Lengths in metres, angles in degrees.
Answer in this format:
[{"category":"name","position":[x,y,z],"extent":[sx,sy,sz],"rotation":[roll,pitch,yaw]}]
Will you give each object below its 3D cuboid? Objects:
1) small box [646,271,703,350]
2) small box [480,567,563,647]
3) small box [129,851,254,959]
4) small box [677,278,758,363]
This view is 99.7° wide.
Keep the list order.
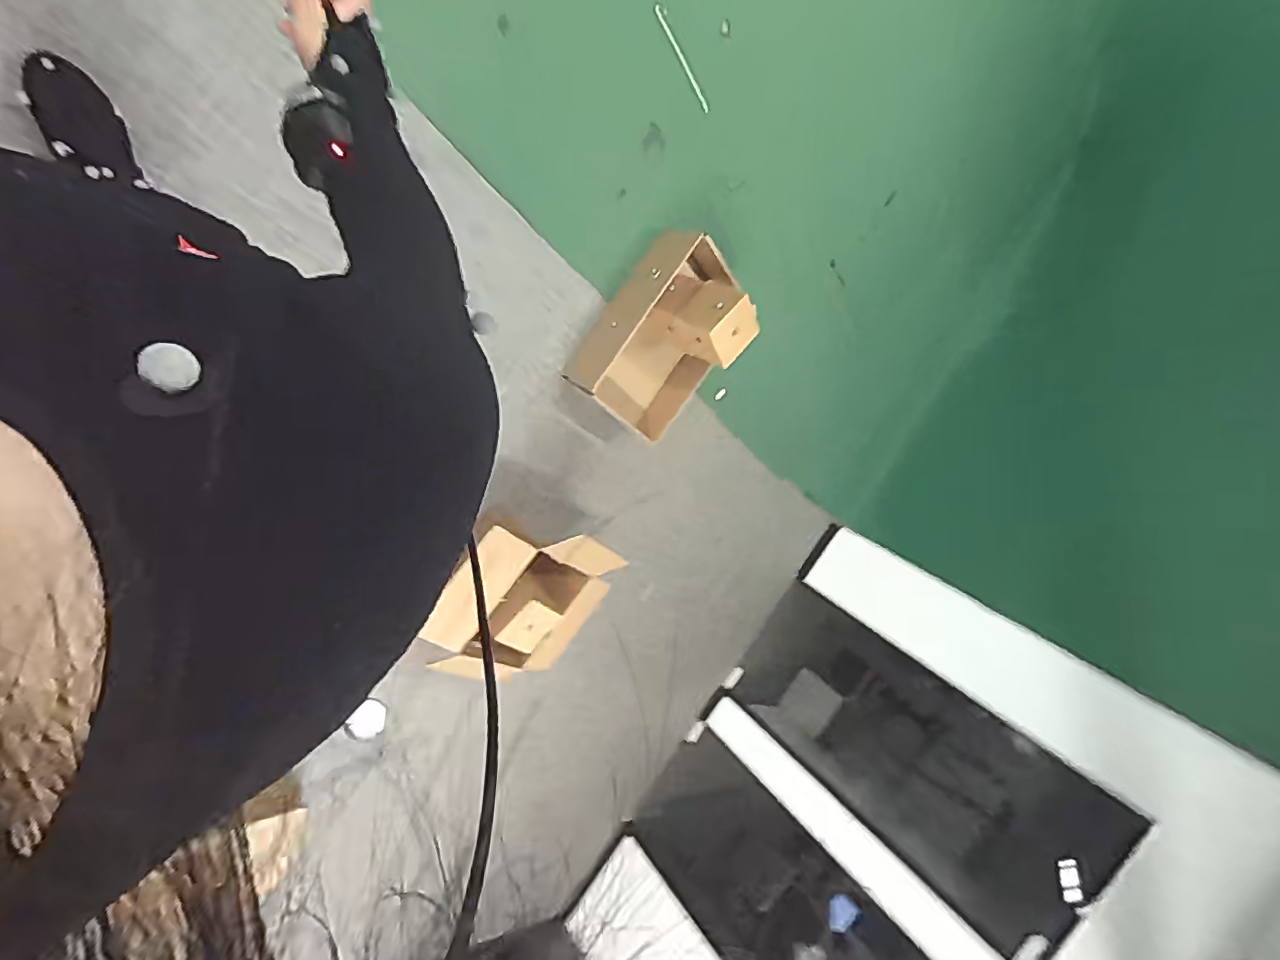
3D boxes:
[{"category":"small box","position":[0.150,-0.578,1.831],"extent":[0.168,0.176,0.179],"rotation":[-45,140,-10]},{"category":"small box","position":[-0.393,0.413,1.778],"extent":[0.168,0.176,0.179],"rotation":[-47,139,-4]},{"category":"small box","position":[-1.113,1.065,1.337],"extent":[0.179,0.176,0.168],"rotation":[-44,138,-16]},{"category":"small box","position":[0.238,-0.508,1.712],"extent":[0.179,0.176,0.168],"rotation":[-48,141,-7]}]
